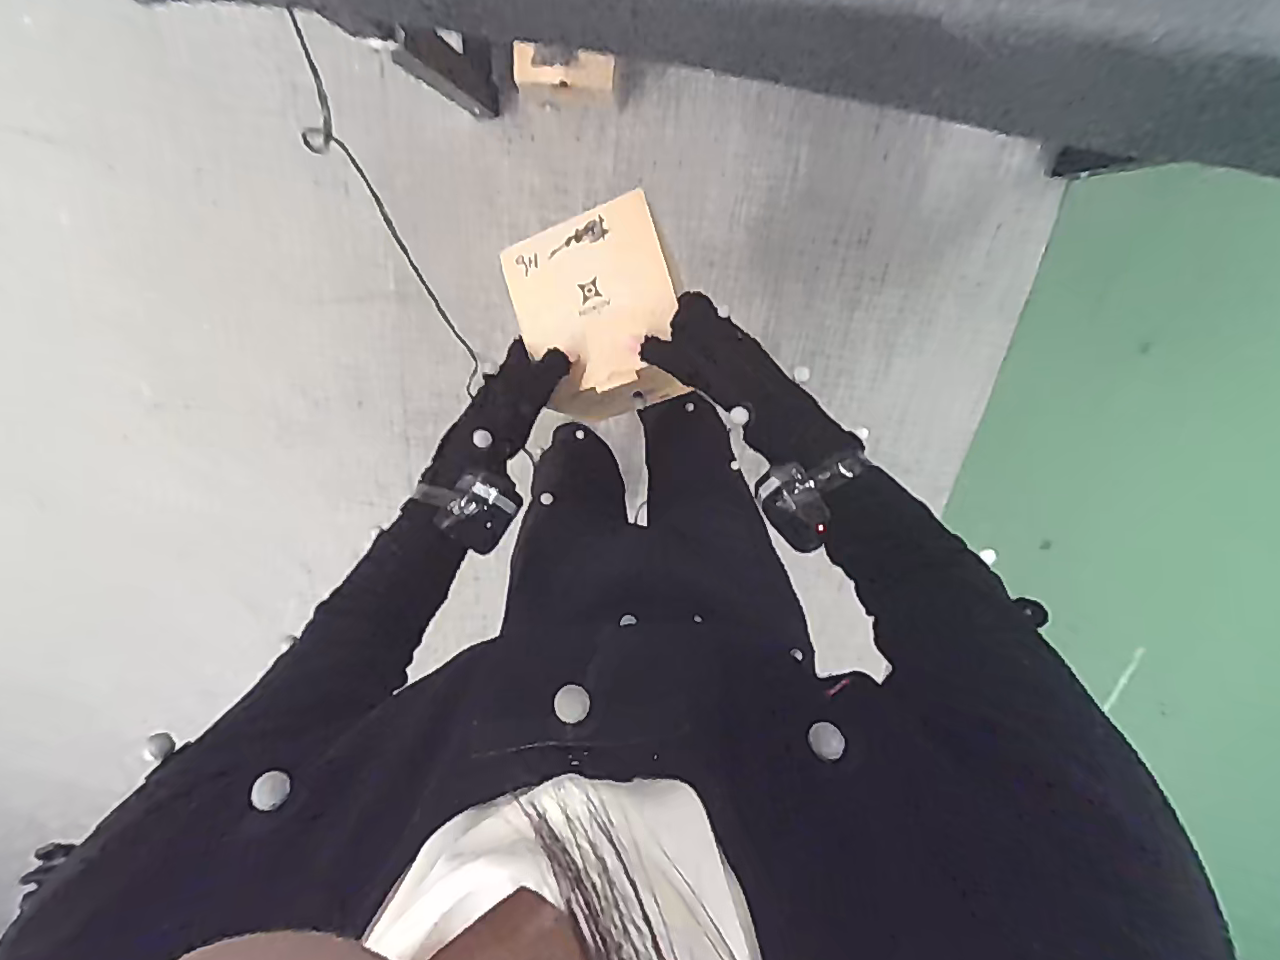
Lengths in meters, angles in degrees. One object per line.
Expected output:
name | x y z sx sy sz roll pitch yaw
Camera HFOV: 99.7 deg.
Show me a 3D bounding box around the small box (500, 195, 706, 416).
small box | -0.030 -0.179 0.623 0.168 0.176 0.179 -17 87 13
